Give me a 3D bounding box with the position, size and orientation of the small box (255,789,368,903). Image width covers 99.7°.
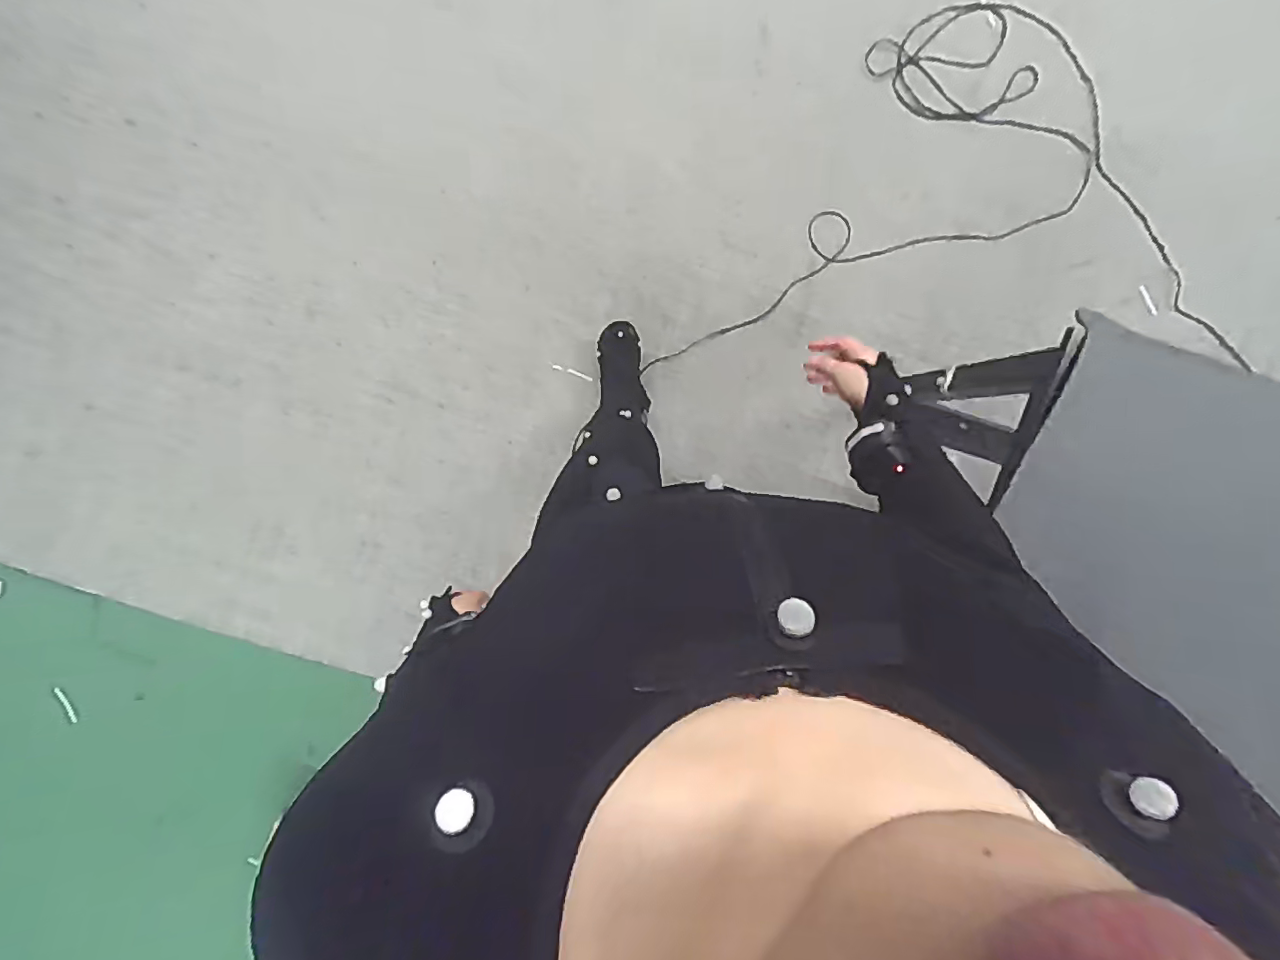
[{"bbox_3d":[-0.886,0.984,1.471,0.179,0.176,0.168,22,94,-3],"label":"small box"}]
